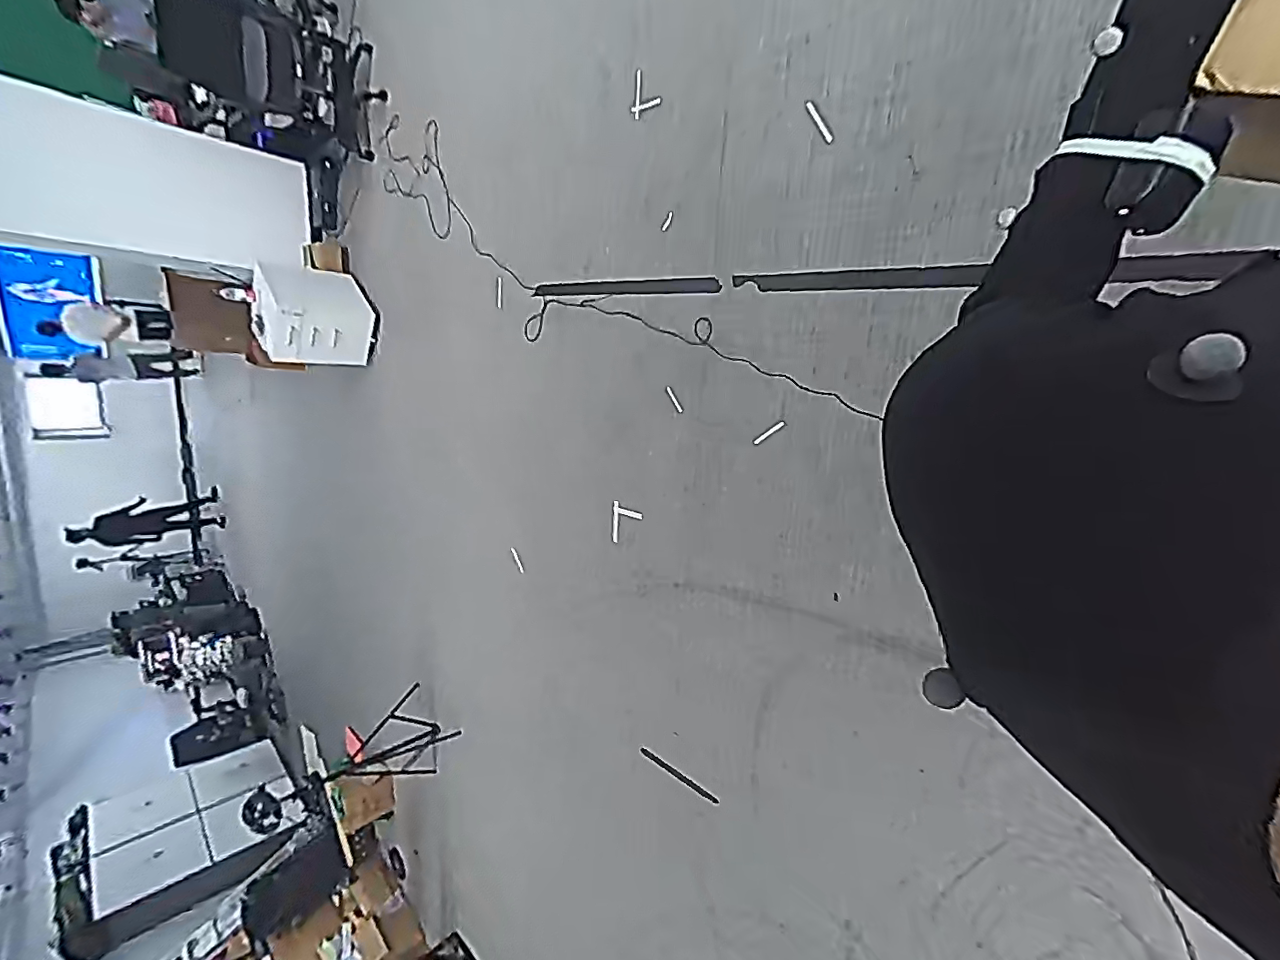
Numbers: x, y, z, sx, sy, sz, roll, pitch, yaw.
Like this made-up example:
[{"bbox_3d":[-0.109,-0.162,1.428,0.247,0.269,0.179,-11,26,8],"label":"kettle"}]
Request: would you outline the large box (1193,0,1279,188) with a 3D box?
[{"bbox_3d":[0.631,-0.327,0.276,0.408,0.320,0.320,34,125,34],"label":"large box"}]
